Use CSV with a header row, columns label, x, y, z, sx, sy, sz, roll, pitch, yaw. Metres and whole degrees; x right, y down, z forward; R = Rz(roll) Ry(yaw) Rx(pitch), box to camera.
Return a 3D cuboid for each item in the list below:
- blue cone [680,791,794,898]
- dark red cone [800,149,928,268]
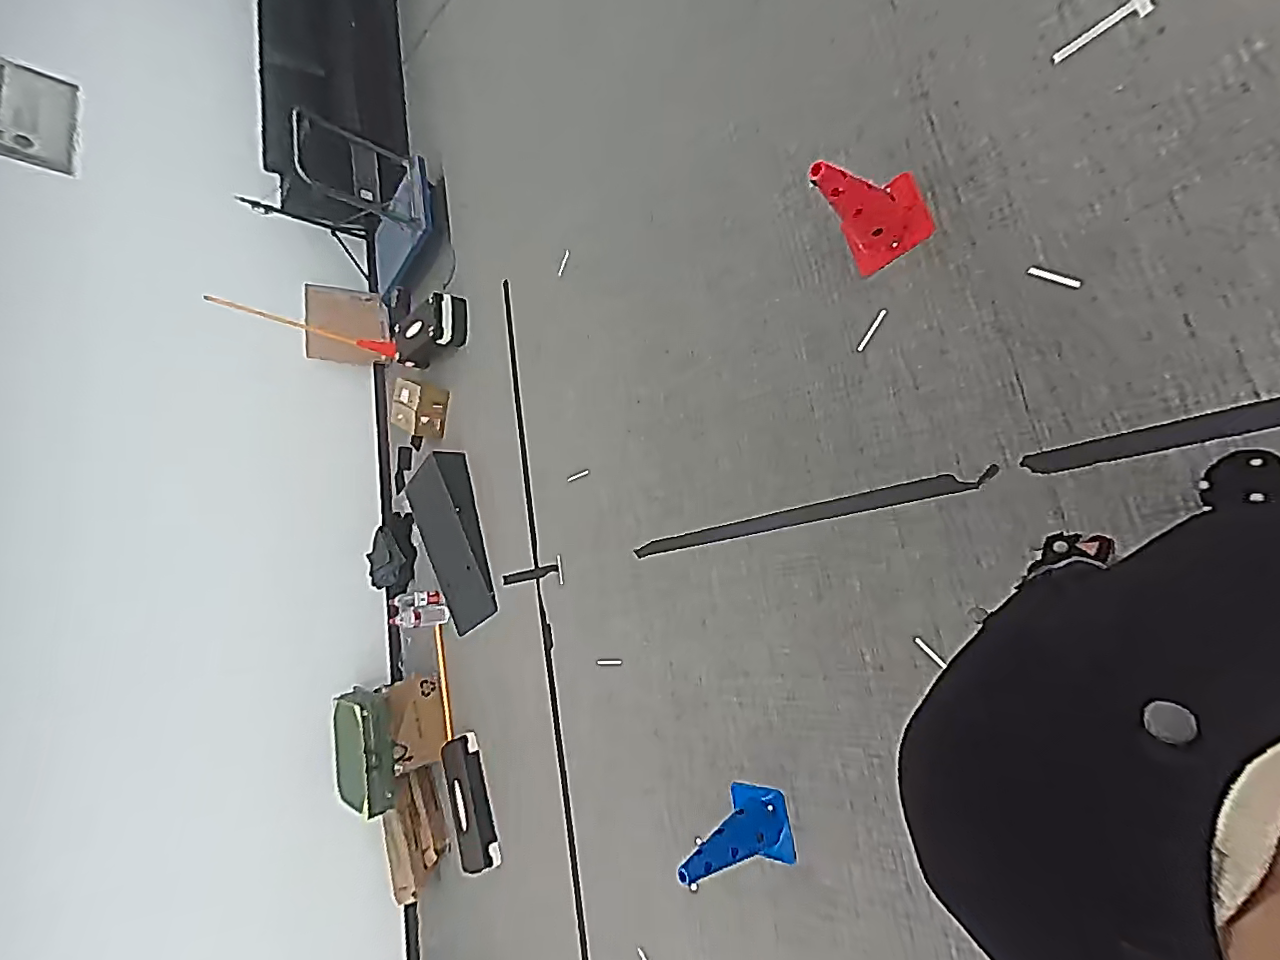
label,x,y,z,sx,sy,sz,roll,pitch,yaw
blue cone,0.249,1.048,1.520,0.193,0.380,0.192,-20,75,45
dark red cone,0.494,-0.678,1.279,0.202,0.394,0.201,-30,68,43
